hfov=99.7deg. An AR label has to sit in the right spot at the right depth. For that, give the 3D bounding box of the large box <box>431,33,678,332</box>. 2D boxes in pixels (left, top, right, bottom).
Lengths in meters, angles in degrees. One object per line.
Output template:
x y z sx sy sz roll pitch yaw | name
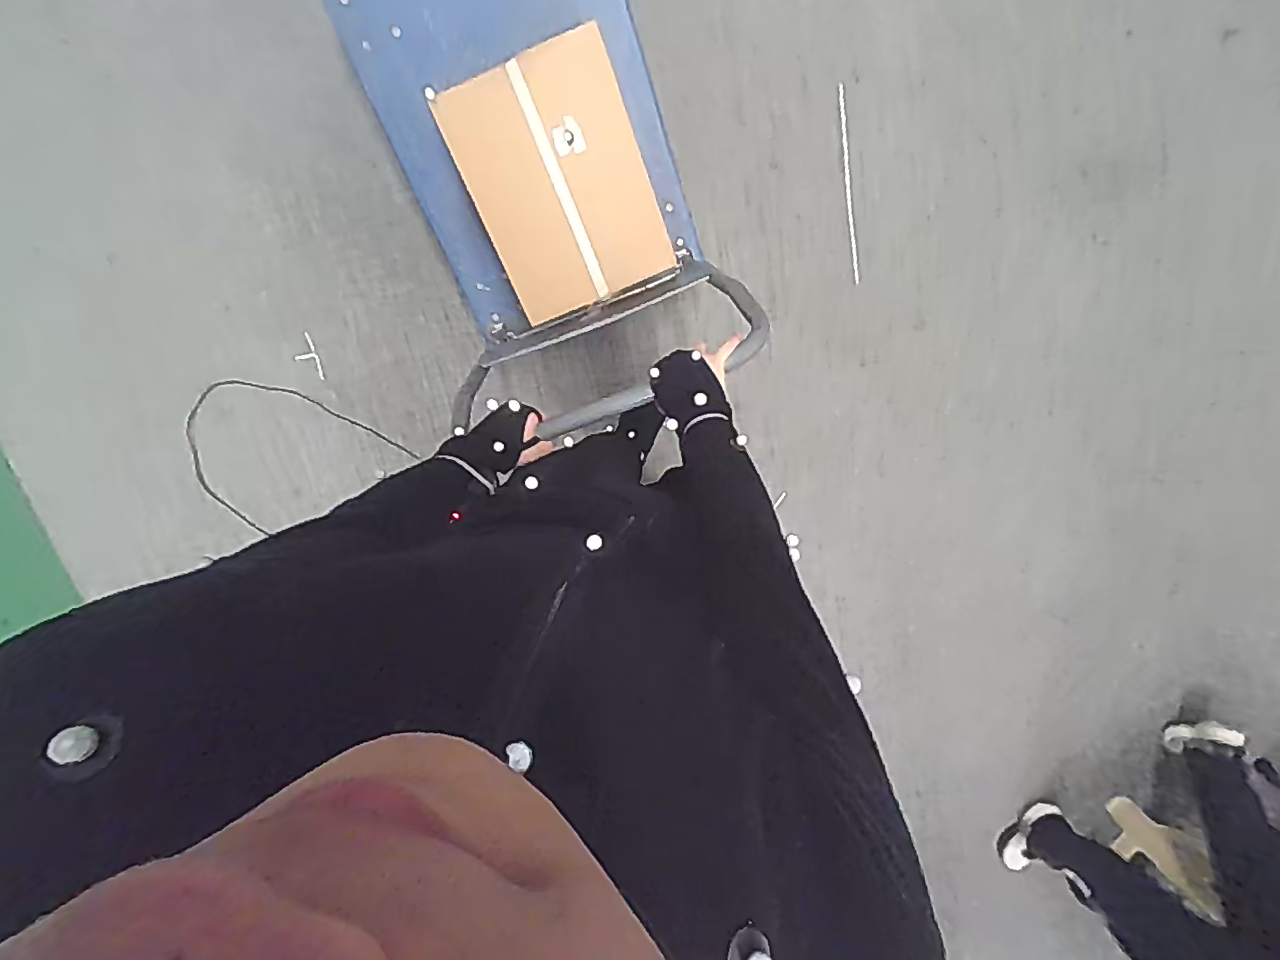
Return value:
-0.148 -0.567 1.108 0.320 0.320 0.408 -22 113 4 | large box
